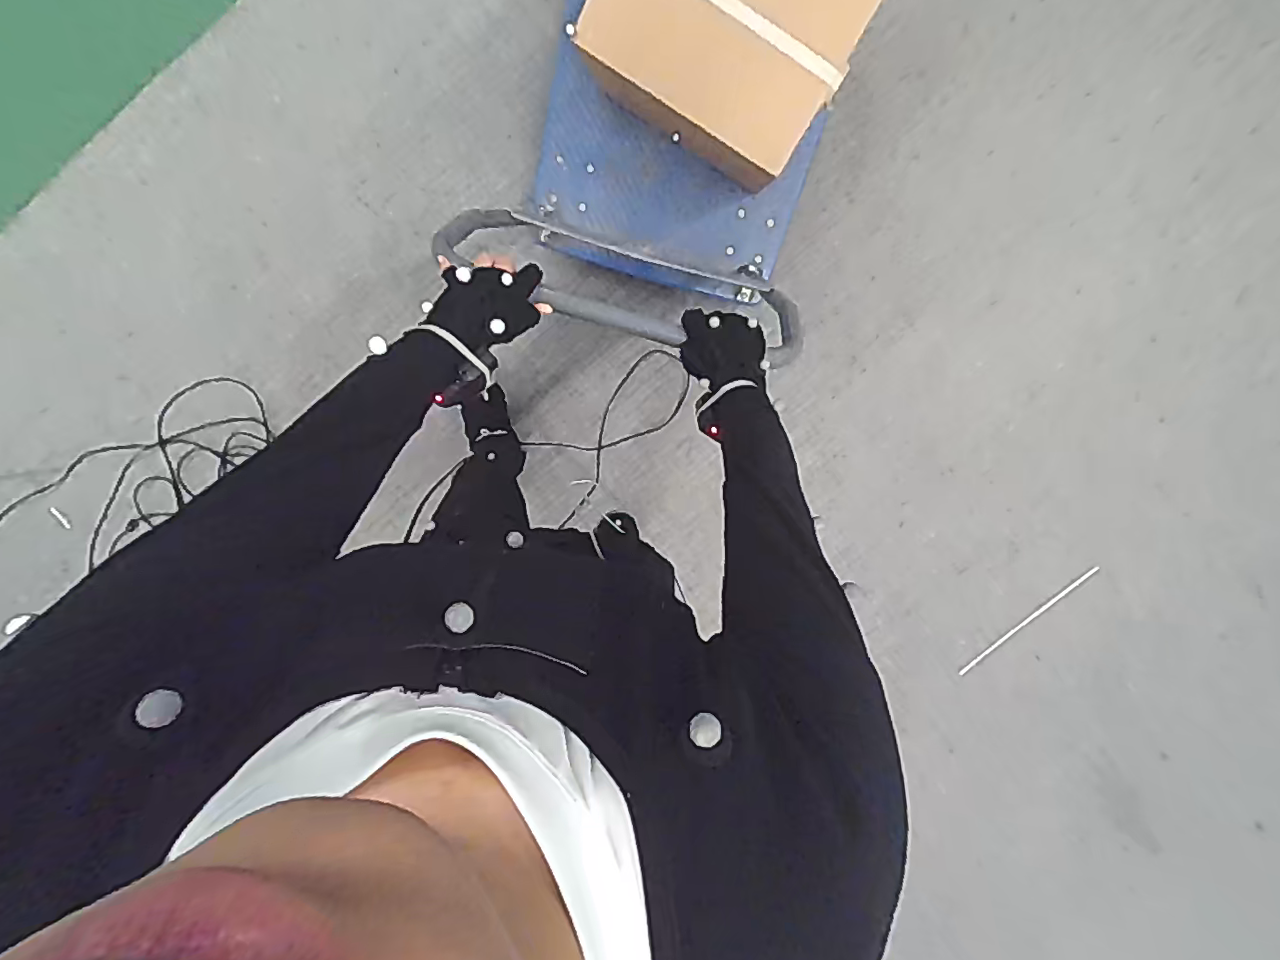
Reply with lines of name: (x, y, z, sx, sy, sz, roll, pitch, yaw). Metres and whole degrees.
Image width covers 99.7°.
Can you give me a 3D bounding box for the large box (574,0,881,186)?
large box: (0.152, -0.793, 0.976, 0.408, 0.320, 0.320, 30, 113, -8)
